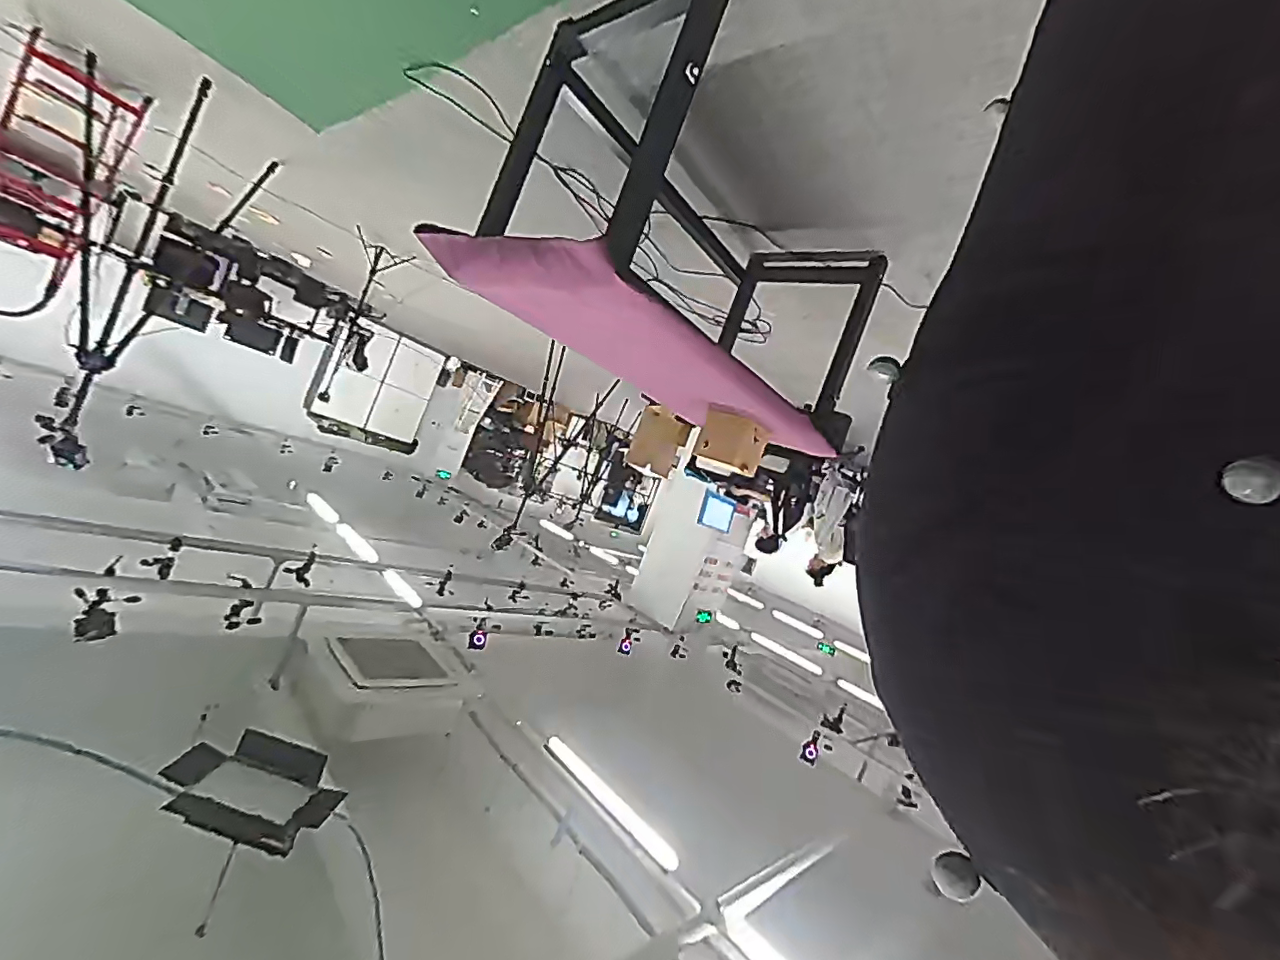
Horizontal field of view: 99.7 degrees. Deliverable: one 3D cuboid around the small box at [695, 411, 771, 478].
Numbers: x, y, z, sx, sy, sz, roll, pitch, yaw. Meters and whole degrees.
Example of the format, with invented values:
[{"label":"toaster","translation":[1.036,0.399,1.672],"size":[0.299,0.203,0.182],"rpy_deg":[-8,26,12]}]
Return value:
[{"label":"small box","translation":[0.328,-0.129,1.888],"size":[0.179,0.176,0.168],"rpy_deg":[21,179,41]}]
